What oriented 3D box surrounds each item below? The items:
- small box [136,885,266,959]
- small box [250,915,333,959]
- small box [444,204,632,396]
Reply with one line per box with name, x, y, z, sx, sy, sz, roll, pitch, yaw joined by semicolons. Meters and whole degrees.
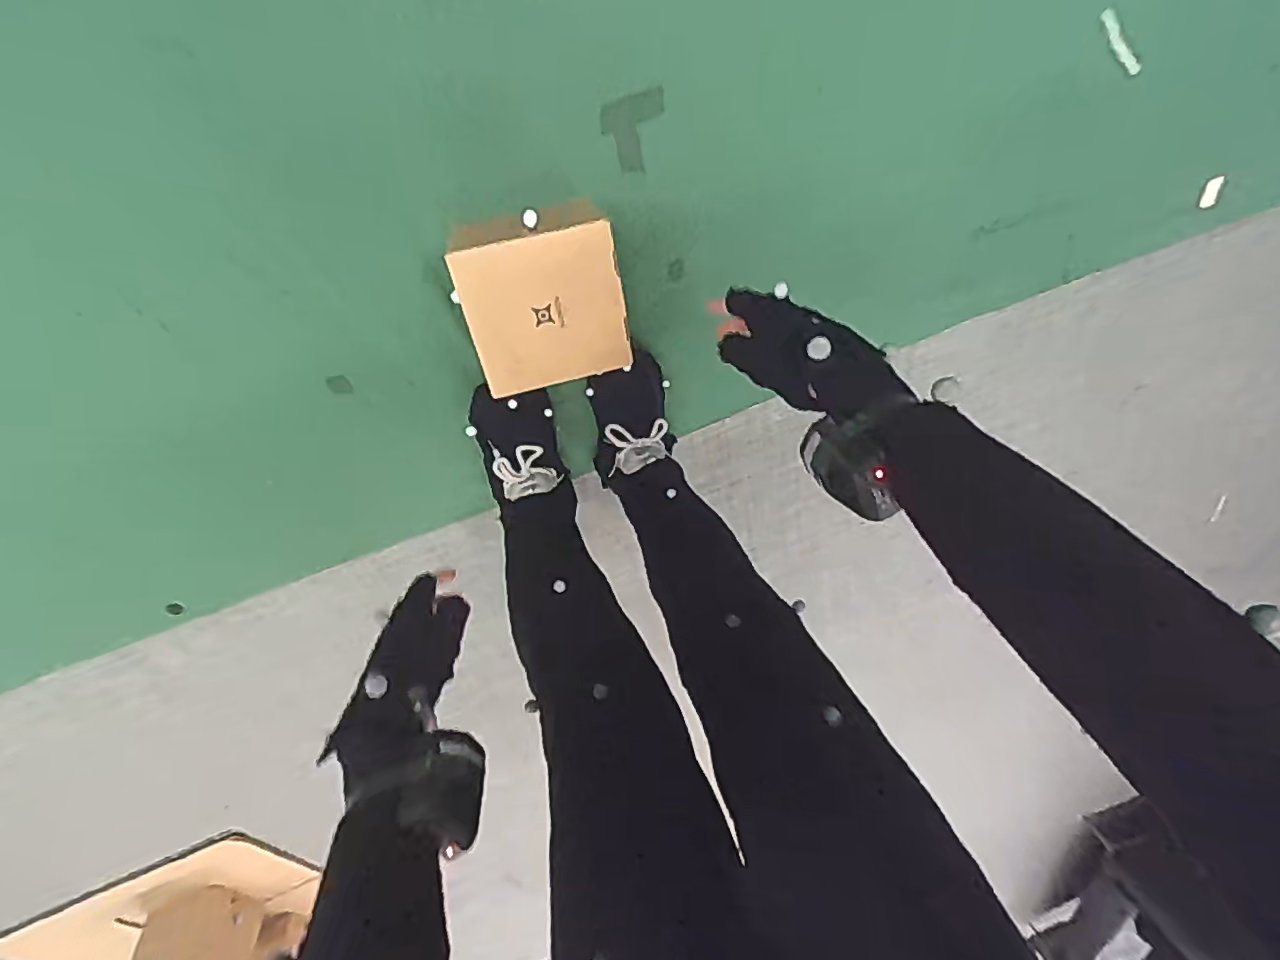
small box;-1.012;1.078;1.241;0.179;0.176;0.168;-24;128;-1
small box;-0.923;1.260;1.390;0.179;0.176;0.168;-27;127;2
small box;-0.123;-0.227;0.664;0.179;0.176;0.168;-16;126;-7
